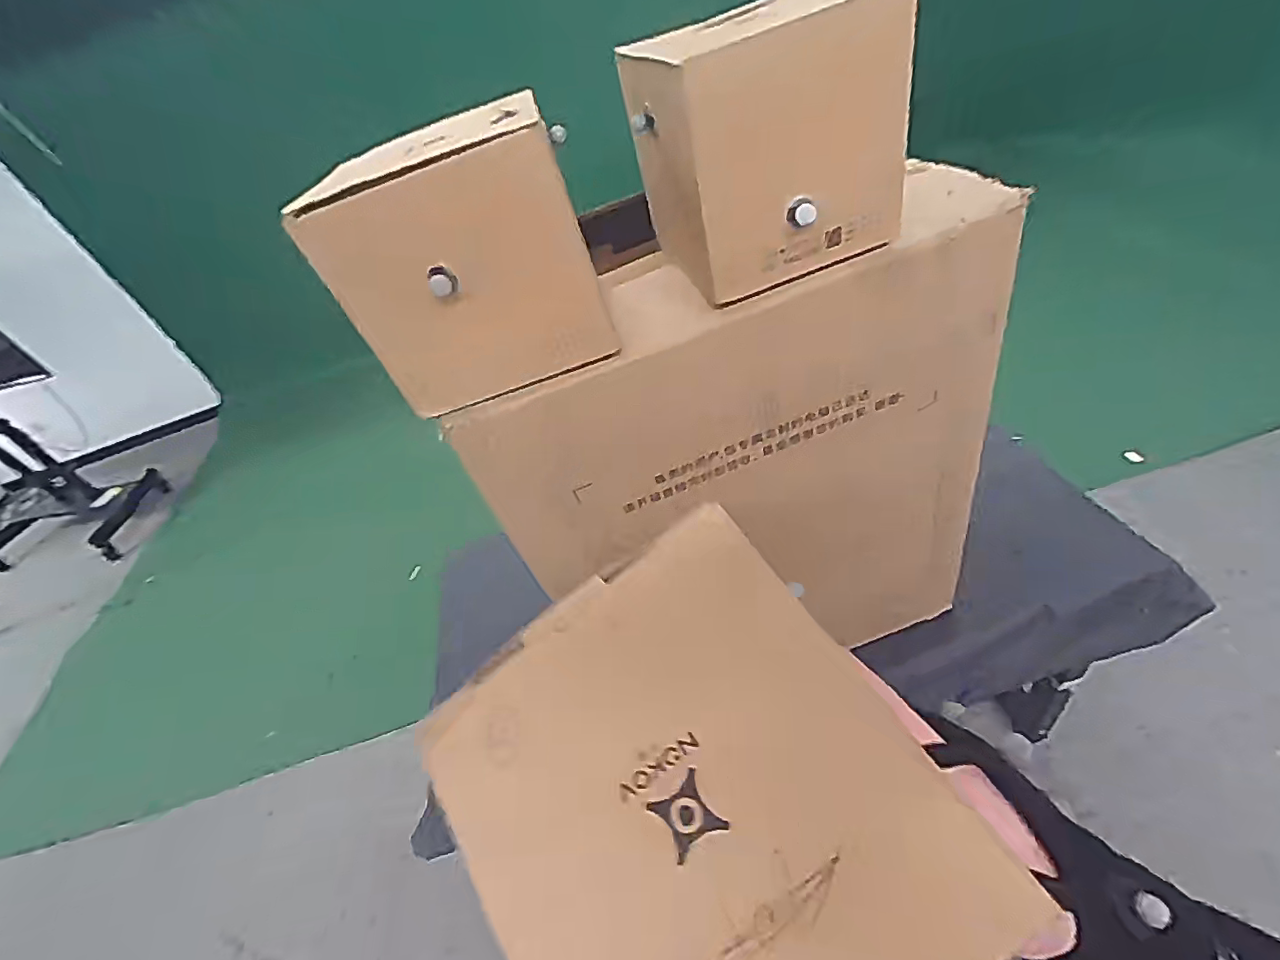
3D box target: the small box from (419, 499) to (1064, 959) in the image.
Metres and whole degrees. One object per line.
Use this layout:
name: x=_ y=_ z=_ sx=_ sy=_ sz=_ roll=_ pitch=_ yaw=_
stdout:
small box: x=0.035 y=0.144 z=0.268 sx=0.168 sy=0.176 sz=0.179 roll=-37 pitch=66 yaw=-1

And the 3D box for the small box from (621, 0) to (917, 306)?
small box: x=0.098 y=-0.273 z=0.455 sx=0.168 sy=0.176 sz=0.179 roll=-22 pitch=42 yaw=-1

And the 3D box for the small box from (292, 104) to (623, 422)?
small box: x=-0.131 y=-0.175 z=0.448 sx=0.179 sy=0.176 sz=0.168 roll=-20 pitch=42 yaw=3
